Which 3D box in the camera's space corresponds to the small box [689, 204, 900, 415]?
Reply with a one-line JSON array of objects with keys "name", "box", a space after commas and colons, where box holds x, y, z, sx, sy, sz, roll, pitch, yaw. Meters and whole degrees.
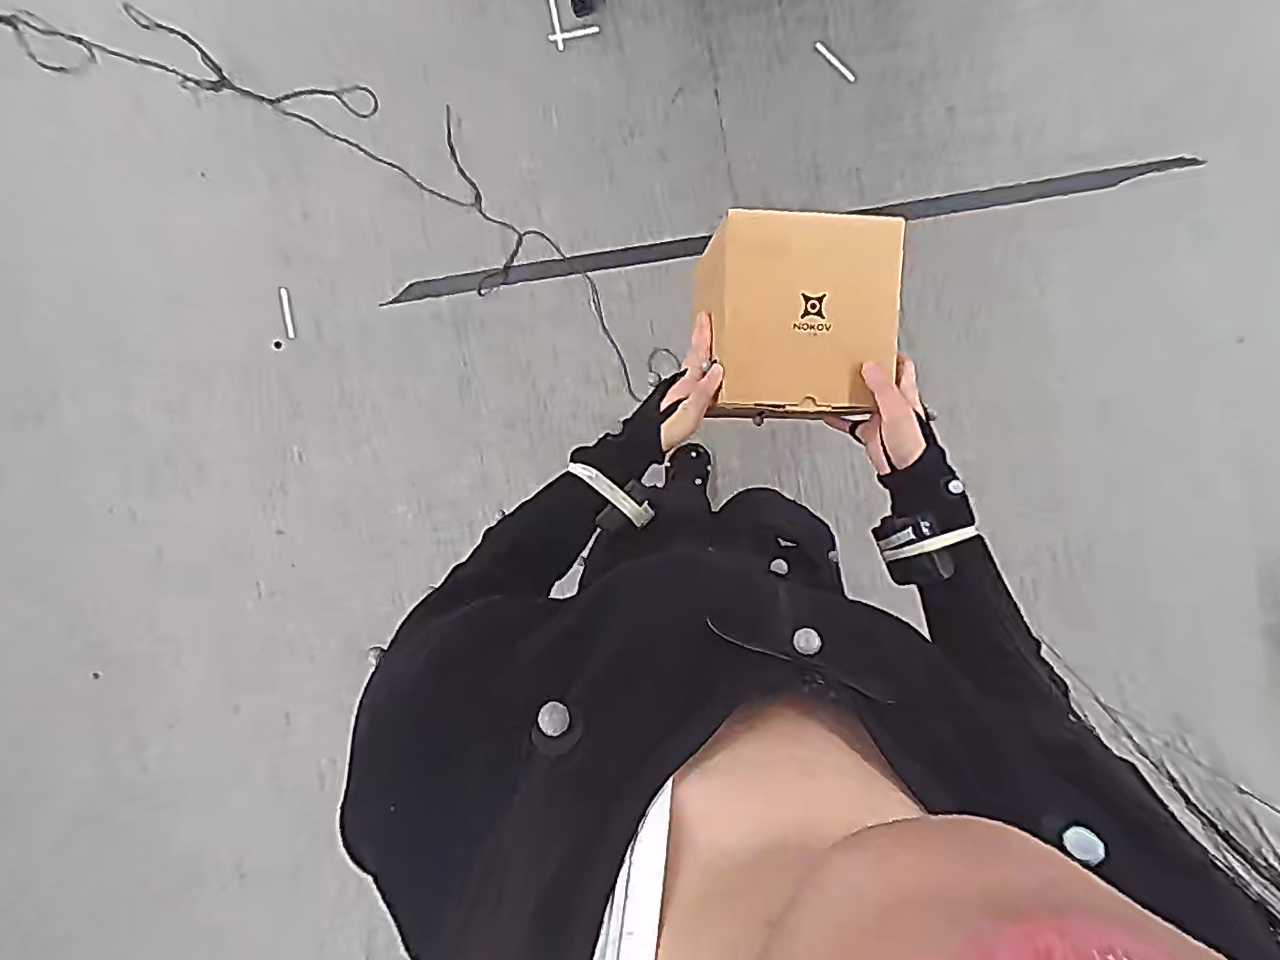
[{"name": "small box", "box": [0.147, -0.162, 0.570, 0.168, 0.176, 0.179, 1, 95, -5]}]
